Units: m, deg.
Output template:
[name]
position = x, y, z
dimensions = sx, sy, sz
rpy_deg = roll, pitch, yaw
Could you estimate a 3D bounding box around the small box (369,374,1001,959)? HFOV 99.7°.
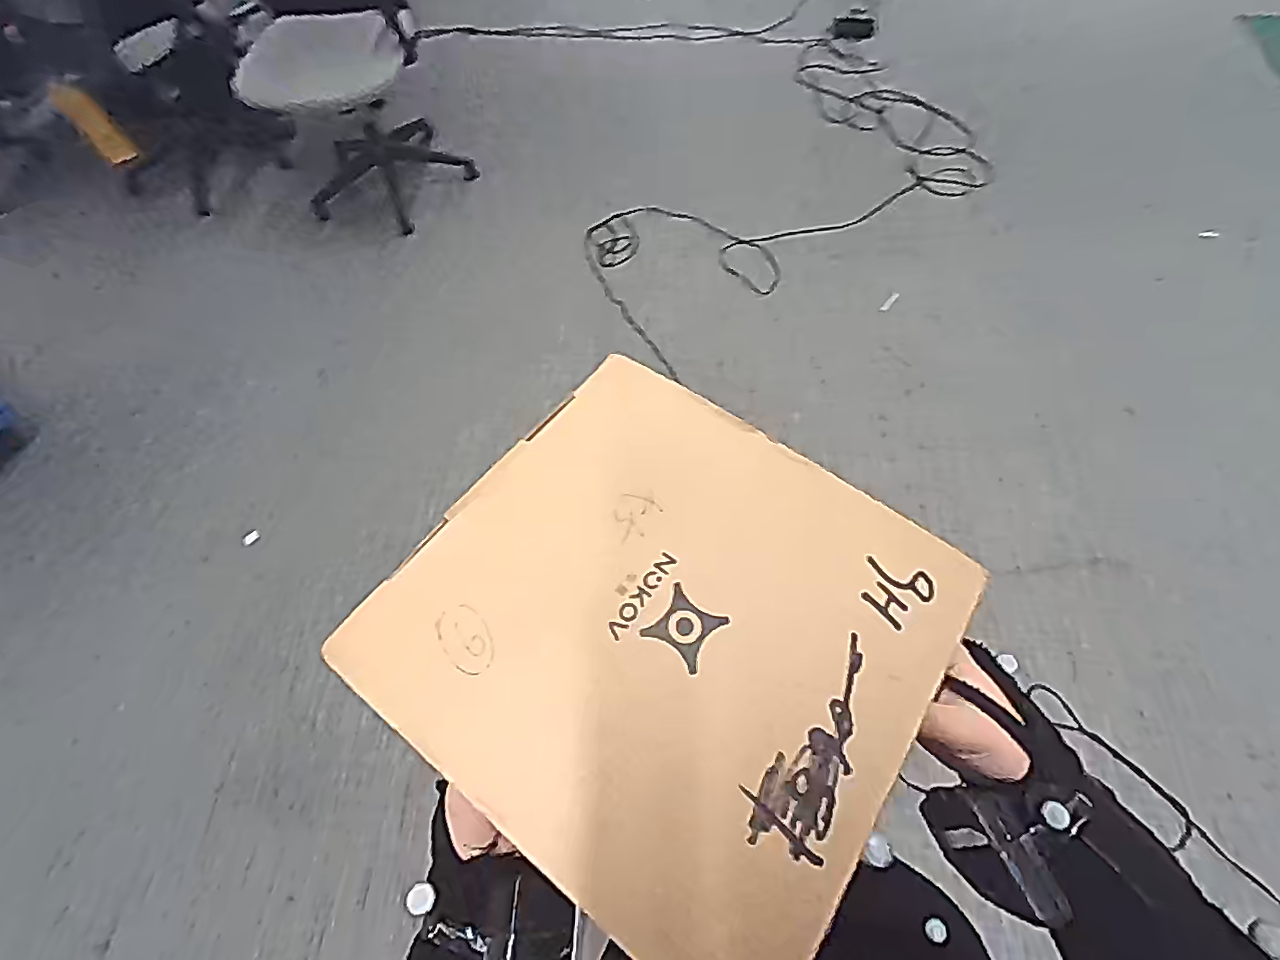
[small box]
position = 0.018, 0.089, 0.267
dimensions = 0.179, 0.176, 0.168
rpy_deg = 34, 68, 17
